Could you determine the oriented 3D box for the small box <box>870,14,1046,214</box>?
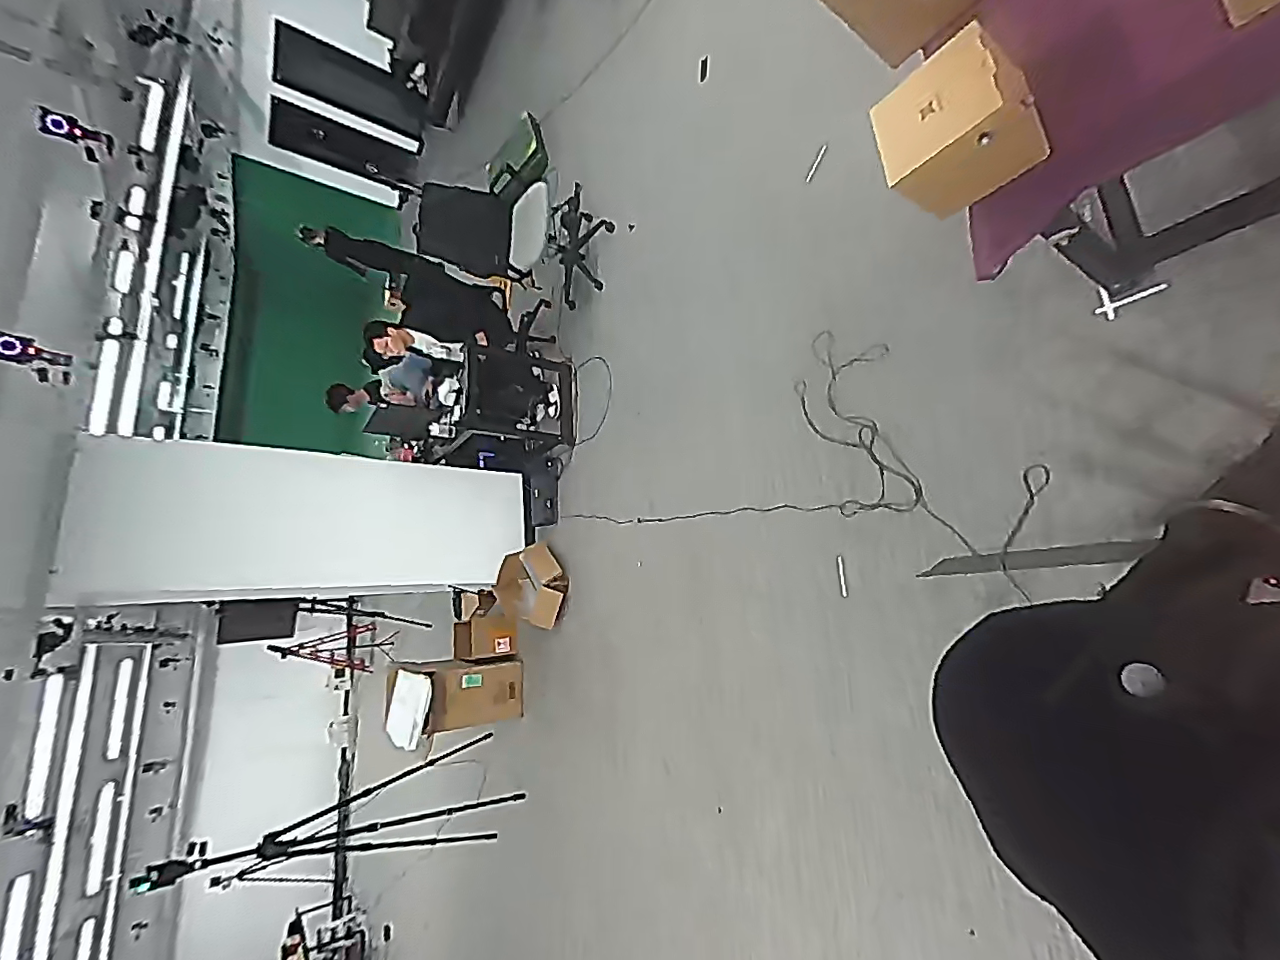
[{"bbox_3d":[0.512,-0.574,0.878,0.179,0.176,0.168,-24,66,50],"label":"small box"}]
